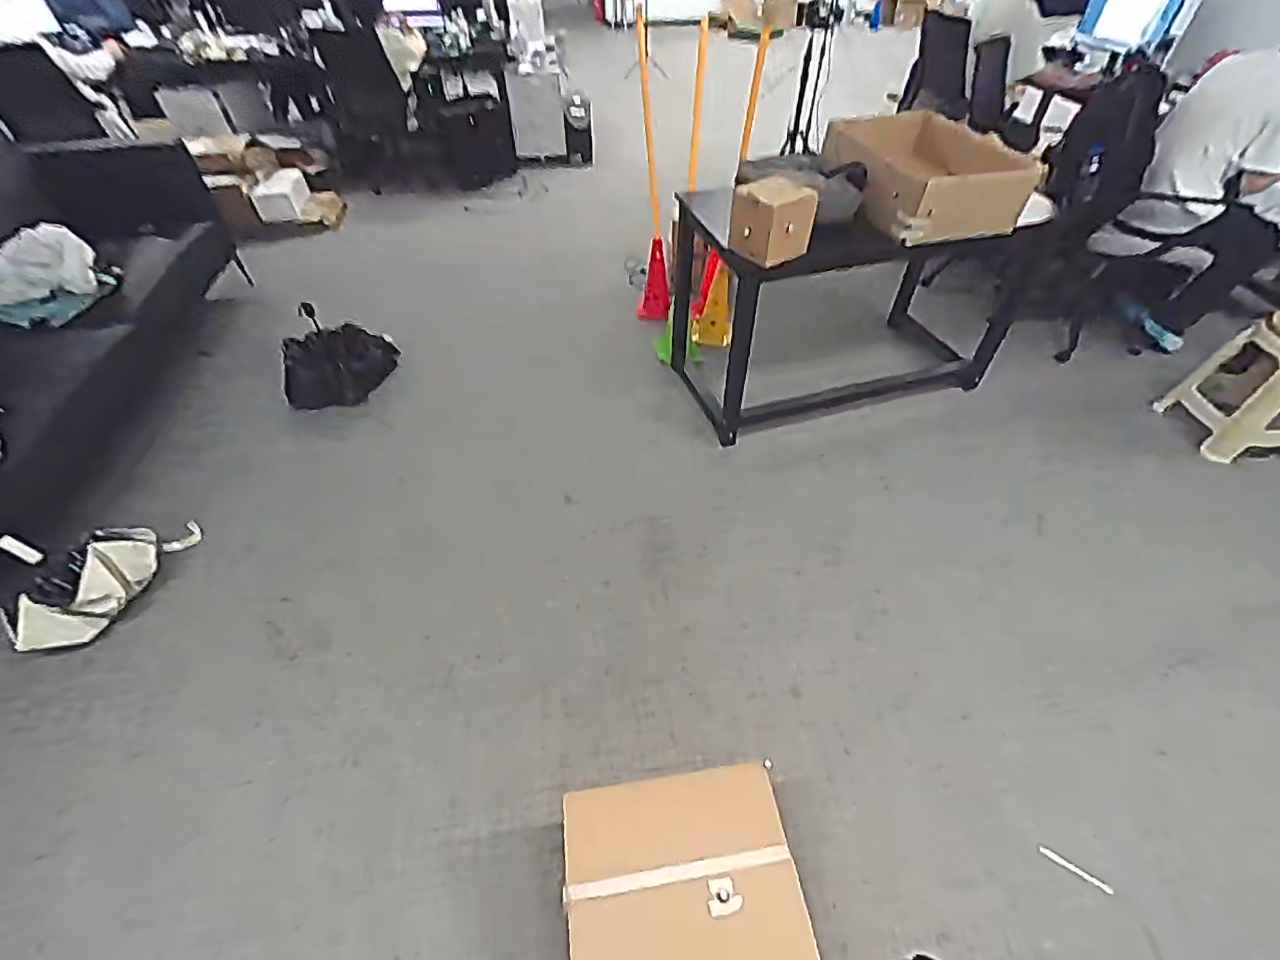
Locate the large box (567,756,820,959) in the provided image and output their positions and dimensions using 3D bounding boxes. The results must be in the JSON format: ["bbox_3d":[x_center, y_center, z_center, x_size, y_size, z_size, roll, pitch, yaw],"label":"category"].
[{"bbox_3d":[0.079,0.792,1.072,0.408,0.320,0.320,-7,48,-5],"label":"large box"}]
